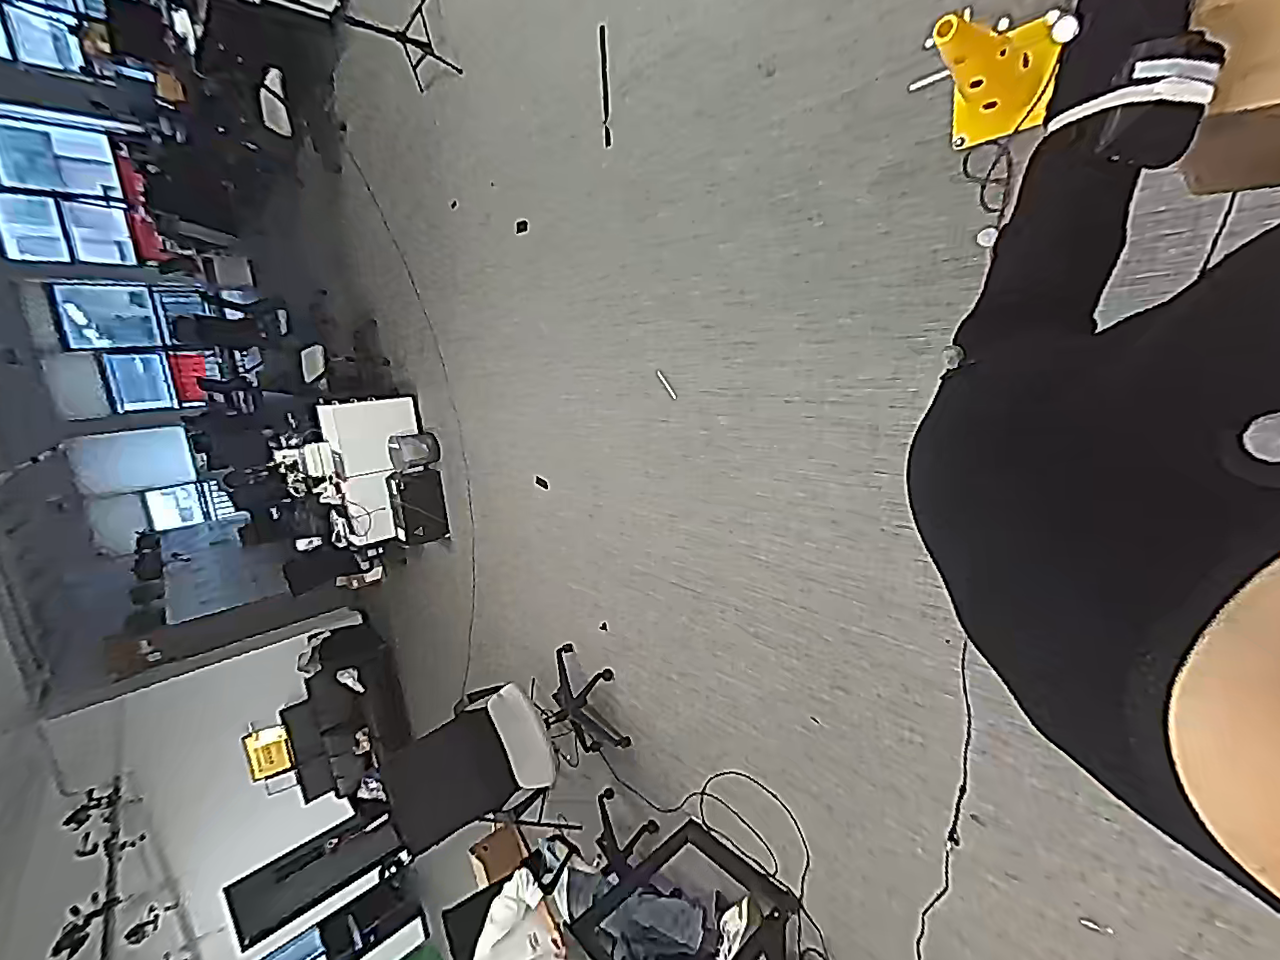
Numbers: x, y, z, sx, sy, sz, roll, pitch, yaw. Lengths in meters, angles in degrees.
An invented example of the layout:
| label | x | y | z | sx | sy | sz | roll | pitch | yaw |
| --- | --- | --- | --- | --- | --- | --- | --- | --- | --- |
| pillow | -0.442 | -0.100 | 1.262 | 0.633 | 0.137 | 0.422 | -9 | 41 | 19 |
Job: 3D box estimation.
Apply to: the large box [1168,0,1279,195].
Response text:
| label | x | y | z | sx | sy | sz | roll | pitch | yaw |
| --- | --- | --- | --- | --- | --- | --- | --- | --- | --- |
| large box | 0.603 | -0.380 | 0.291 | 0.408 | 0.320 | 0.320 | 17 | 113 | 44 |
